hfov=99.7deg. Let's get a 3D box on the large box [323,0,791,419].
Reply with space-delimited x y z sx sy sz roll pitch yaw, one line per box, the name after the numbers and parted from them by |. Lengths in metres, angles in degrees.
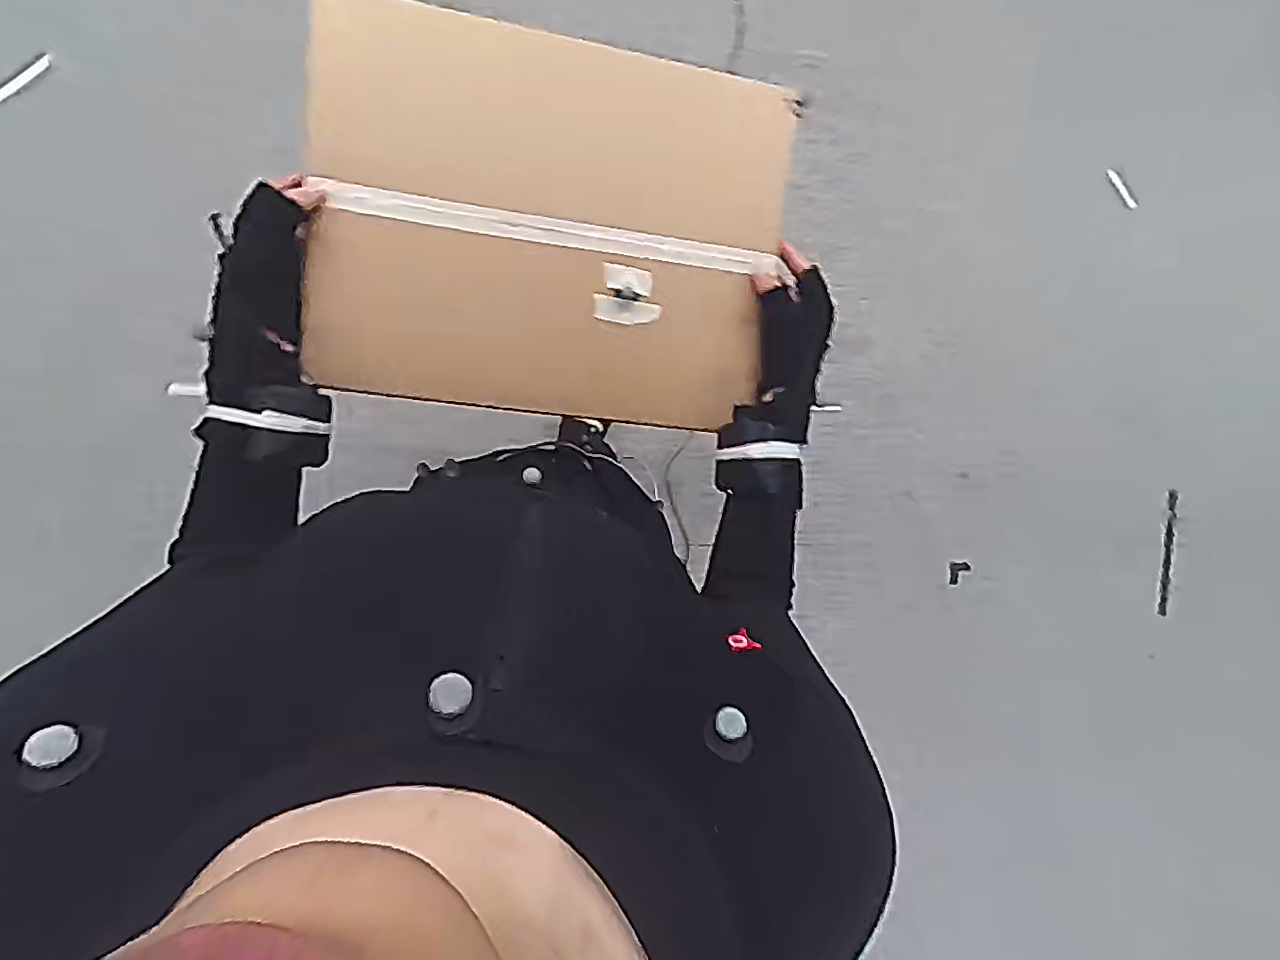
-0.094 -0.246 0.630 0.408 0.320 0.320 5 98 -11 | large box
